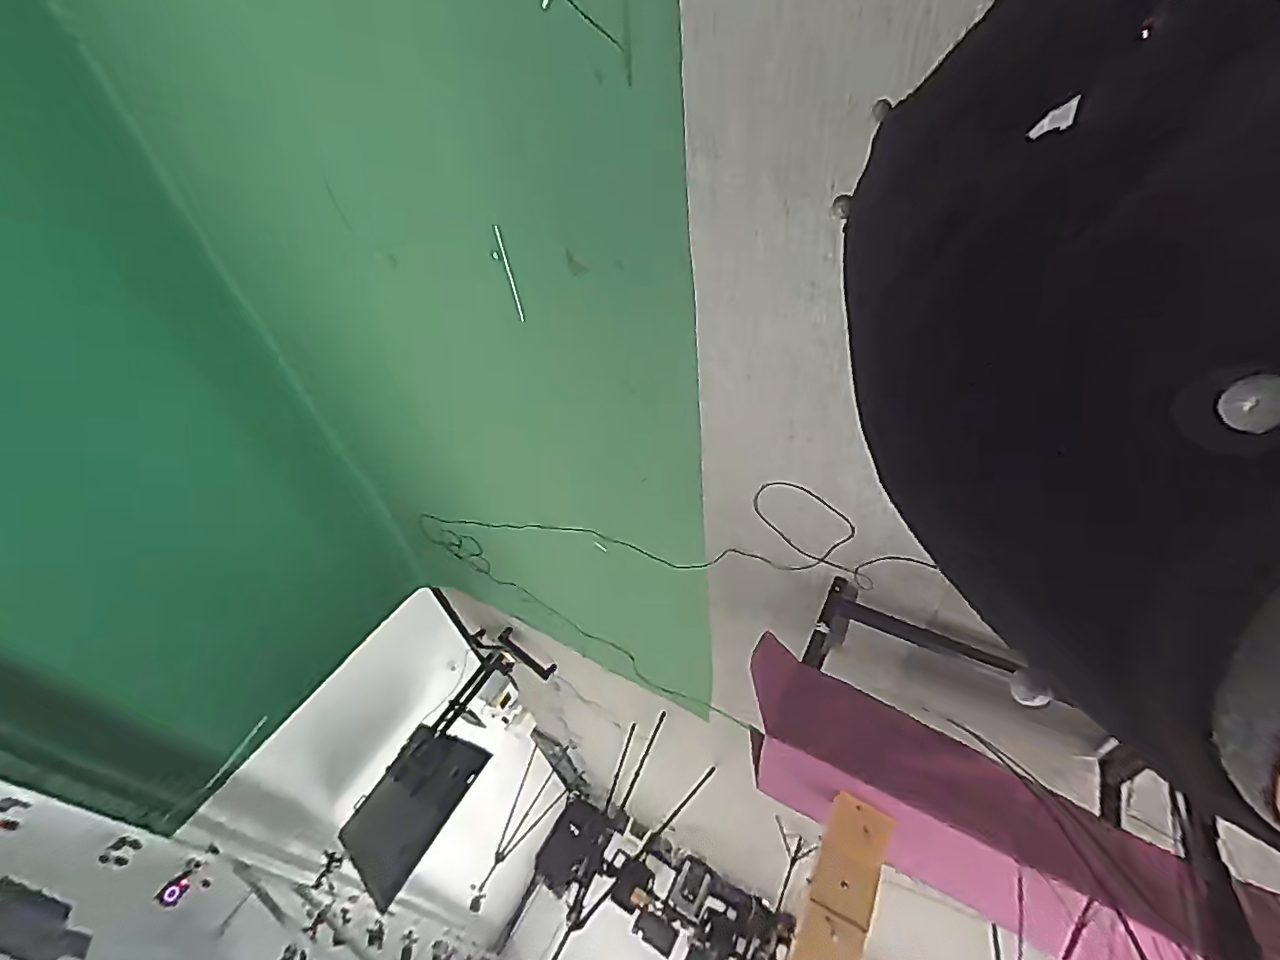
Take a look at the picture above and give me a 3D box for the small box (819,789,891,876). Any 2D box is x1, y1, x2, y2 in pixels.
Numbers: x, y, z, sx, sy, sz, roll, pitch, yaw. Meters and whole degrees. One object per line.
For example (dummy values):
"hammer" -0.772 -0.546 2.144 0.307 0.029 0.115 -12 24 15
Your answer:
"small box" 0.702 1.143 1.764 0.168 0.176 0.179 20 142 23

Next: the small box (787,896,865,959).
"small box" 0.540 1.355 1.571 0.168 0.176 0.179 18 140 23
